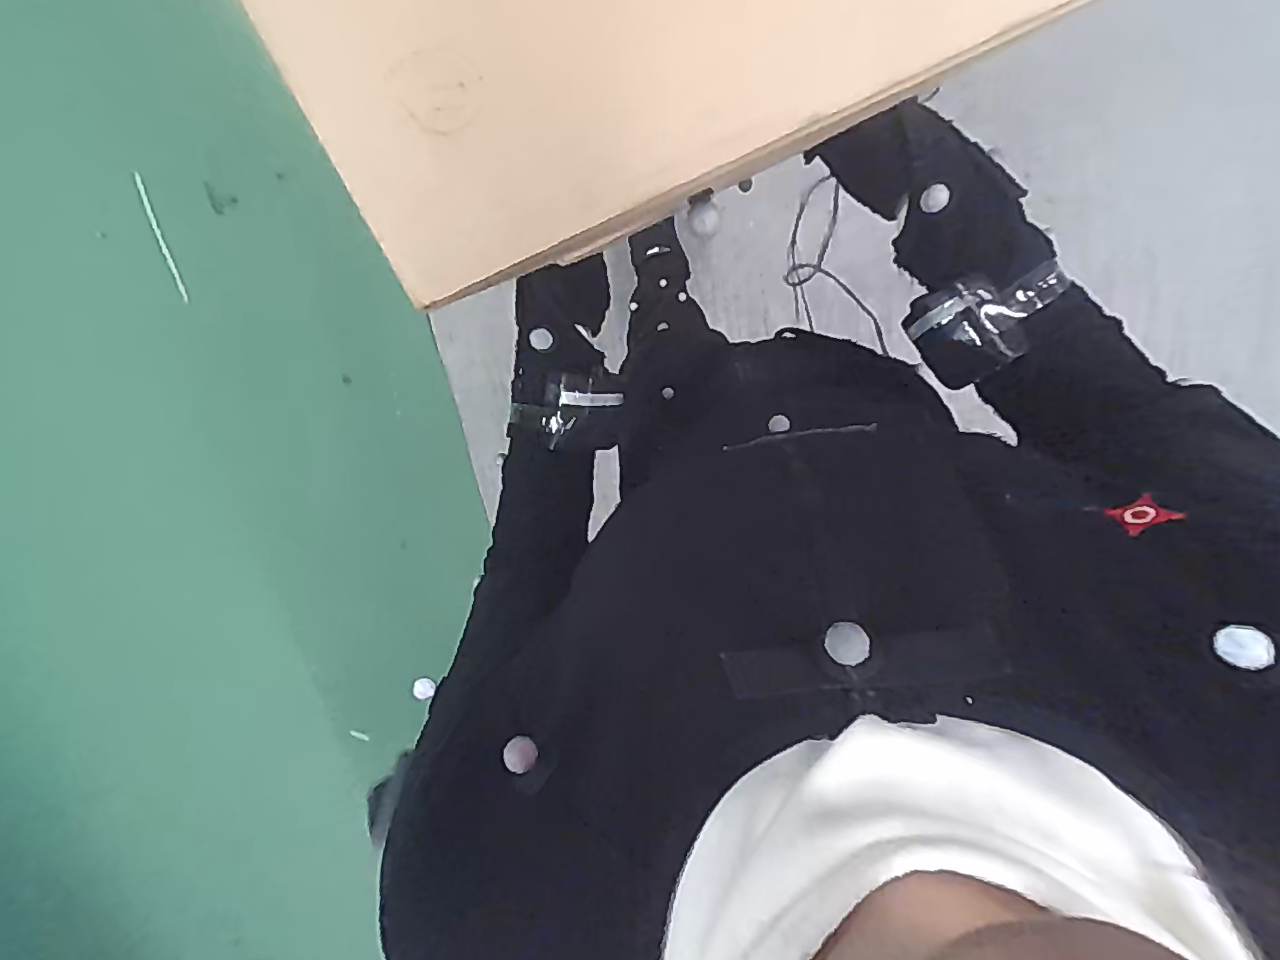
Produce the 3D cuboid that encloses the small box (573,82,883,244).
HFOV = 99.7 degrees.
[{"bbox_3d":[0.010,-0.257,0.315,0.179,0.176,0.168,-20,112,13],"label":"small box"}]

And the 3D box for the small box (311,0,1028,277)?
[{"bbox_3d":[0.001,-0.186,0.167,0.179,0.176,0.168,-22,113,13],"label":"small box"}]
